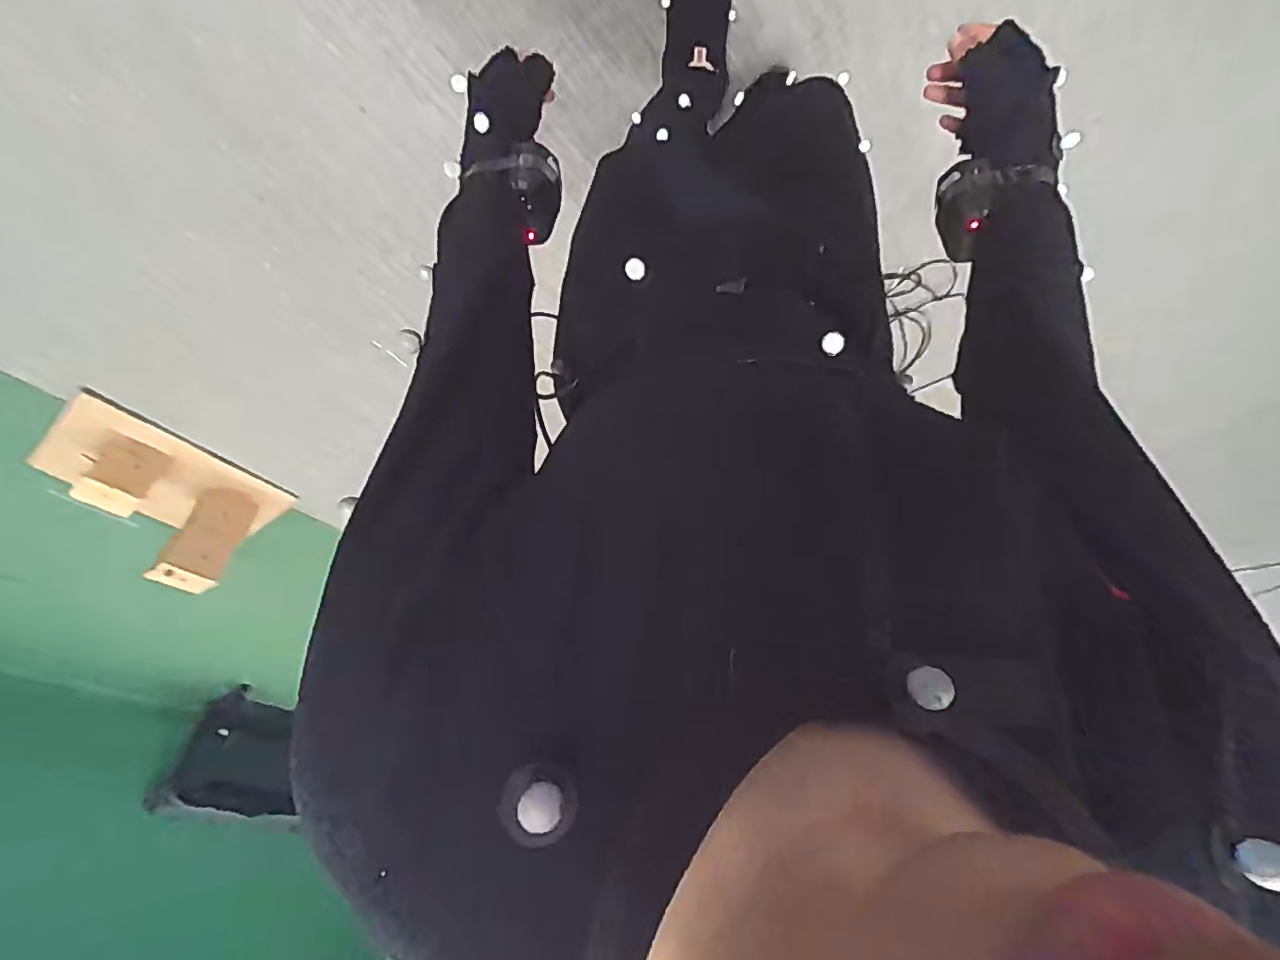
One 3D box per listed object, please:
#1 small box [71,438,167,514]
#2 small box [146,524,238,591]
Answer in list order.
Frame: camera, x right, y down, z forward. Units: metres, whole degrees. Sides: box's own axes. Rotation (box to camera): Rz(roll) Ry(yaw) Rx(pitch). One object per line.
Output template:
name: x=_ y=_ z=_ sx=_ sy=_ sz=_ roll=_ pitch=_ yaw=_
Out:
small box: x=-1.809 y=-0.013 z=1.885 sx=0.179 sy=0.176 sz=0.168 roll=-27 pitch=133 yaw=29
small box: x=-1.628 y=0.279 z=1.972 sx=0.168 sy=0.176 sz=0.179 roll=-23 pitch=137 yaw=26
